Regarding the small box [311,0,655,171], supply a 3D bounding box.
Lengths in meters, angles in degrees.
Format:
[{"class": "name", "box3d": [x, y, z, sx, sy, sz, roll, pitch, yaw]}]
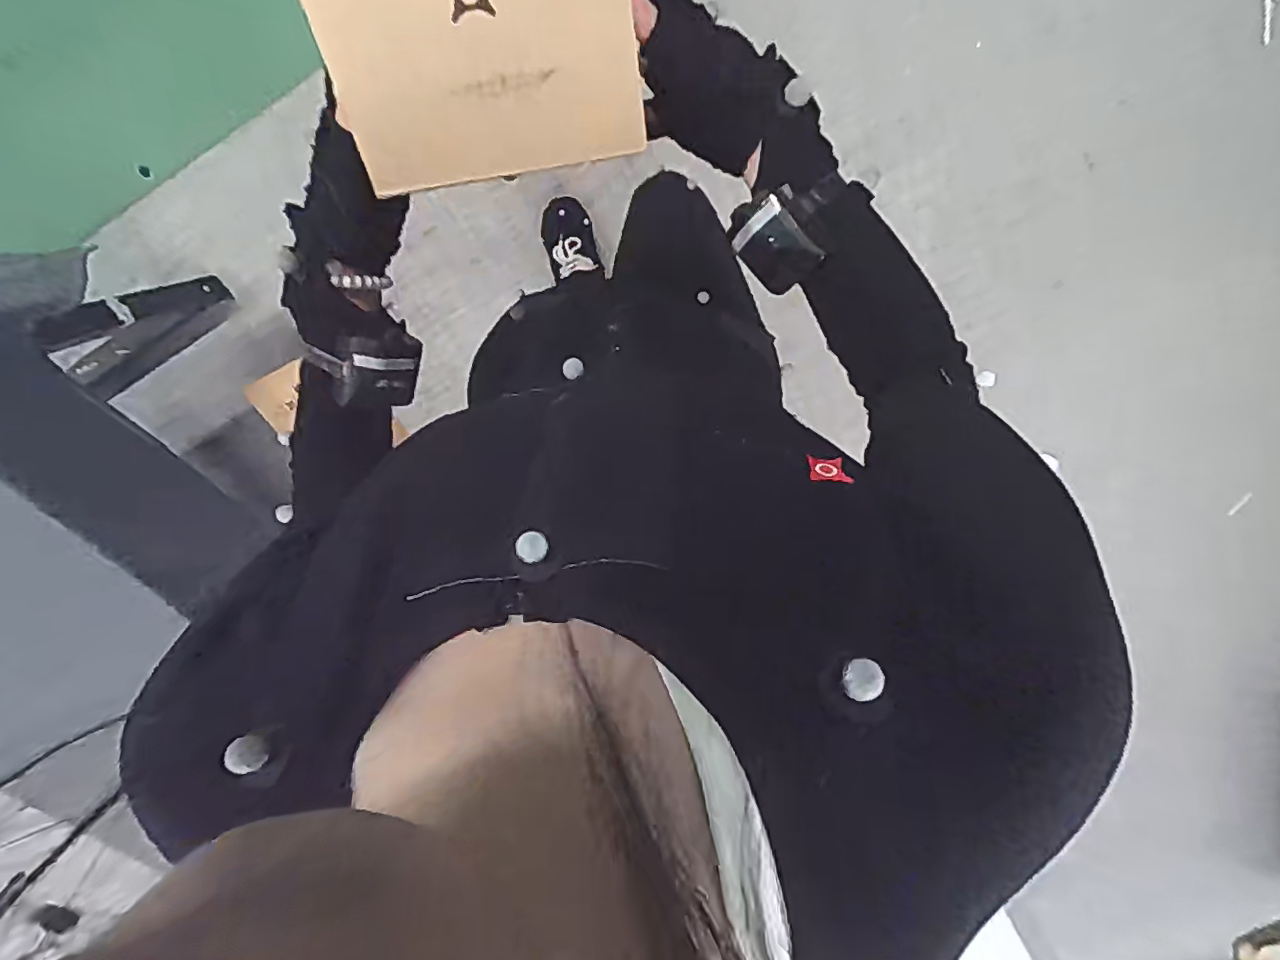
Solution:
[{"class": "small box", "box3d": [-0.089, -0.300, 0.318, 0.168, 0.176, 0.179, -9, 128, -1]}]
